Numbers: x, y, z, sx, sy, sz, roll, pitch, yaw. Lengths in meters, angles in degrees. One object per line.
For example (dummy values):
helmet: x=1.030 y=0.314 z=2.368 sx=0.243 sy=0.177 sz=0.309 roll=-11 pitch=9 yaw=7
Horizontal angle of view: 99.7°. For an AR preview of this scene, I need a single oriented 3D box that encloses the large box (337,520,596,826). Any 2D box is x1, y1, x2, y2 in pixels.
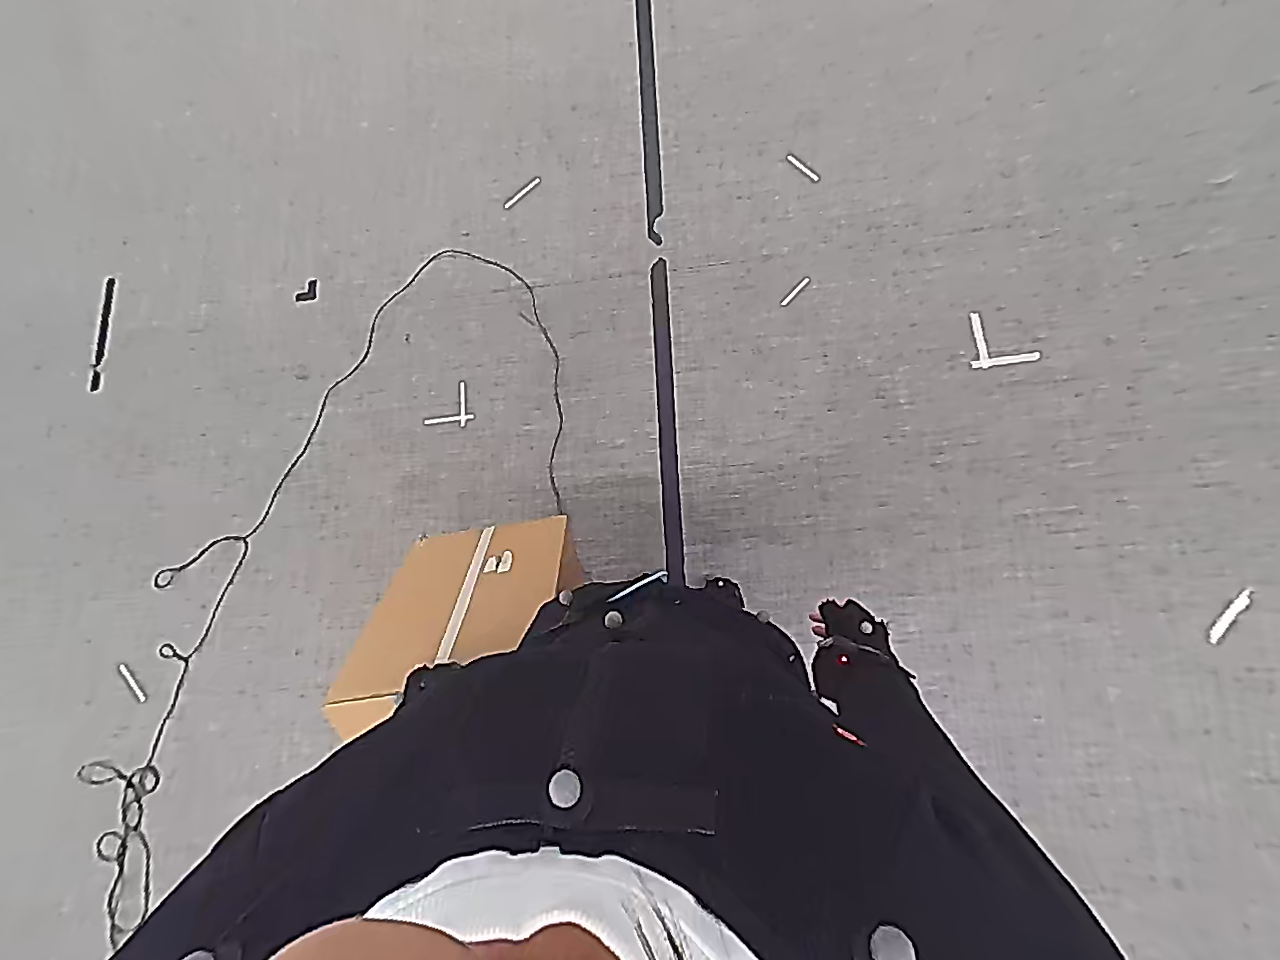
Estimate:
large box: x=-0.260 y=0.325 z=0.984 sx=0.320 sy=0.408 sz=0.320 roll=-8 pitch=117 yaw=2
